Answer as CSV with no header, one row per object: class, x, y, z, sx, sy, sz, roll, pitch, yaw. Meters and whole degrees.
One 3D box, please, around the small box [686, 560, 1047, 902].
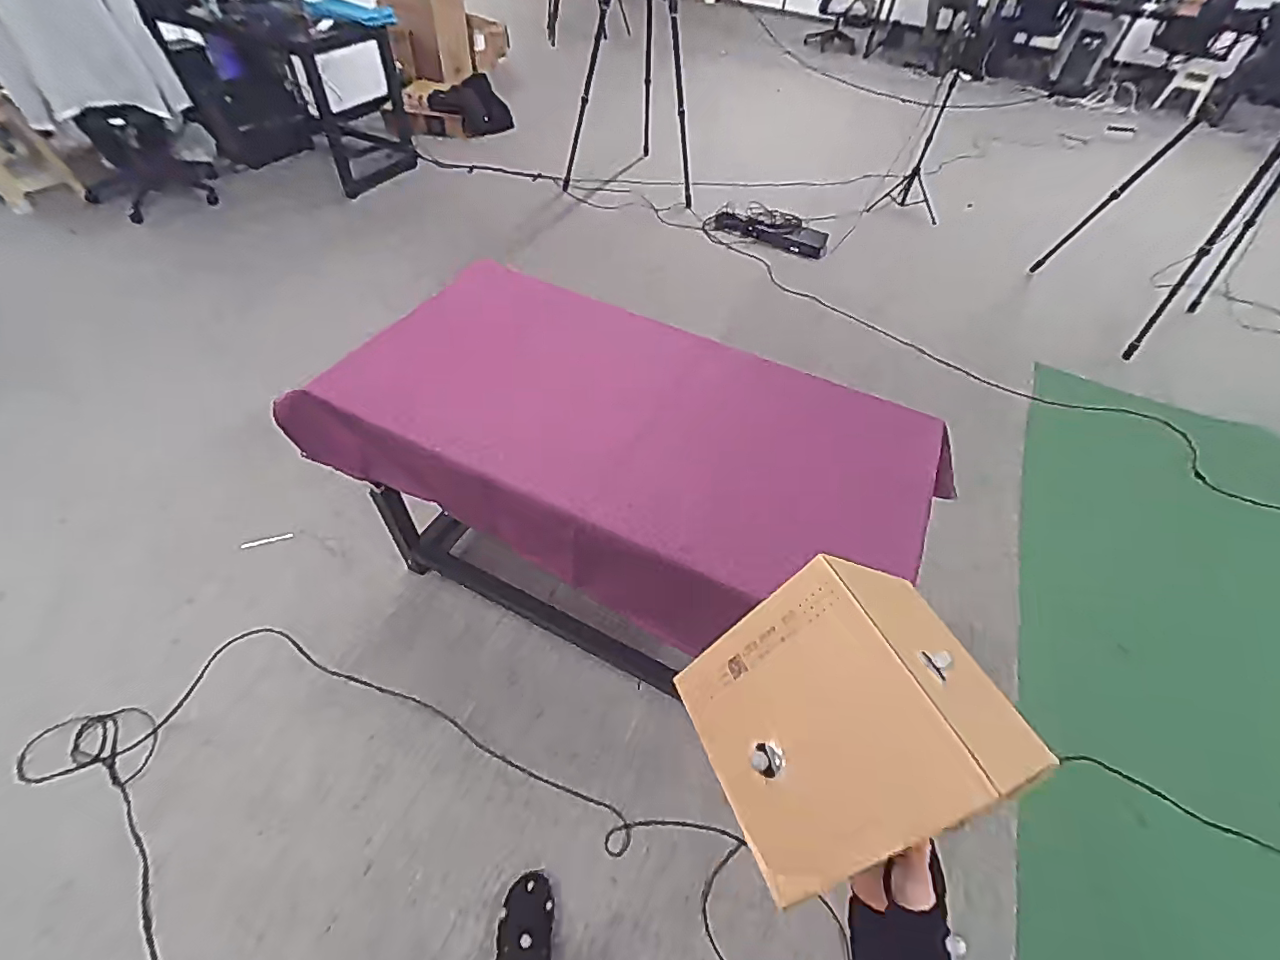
small box,0.167,0.184,0.429,0.179,0.168,0.176,21,30,-43
